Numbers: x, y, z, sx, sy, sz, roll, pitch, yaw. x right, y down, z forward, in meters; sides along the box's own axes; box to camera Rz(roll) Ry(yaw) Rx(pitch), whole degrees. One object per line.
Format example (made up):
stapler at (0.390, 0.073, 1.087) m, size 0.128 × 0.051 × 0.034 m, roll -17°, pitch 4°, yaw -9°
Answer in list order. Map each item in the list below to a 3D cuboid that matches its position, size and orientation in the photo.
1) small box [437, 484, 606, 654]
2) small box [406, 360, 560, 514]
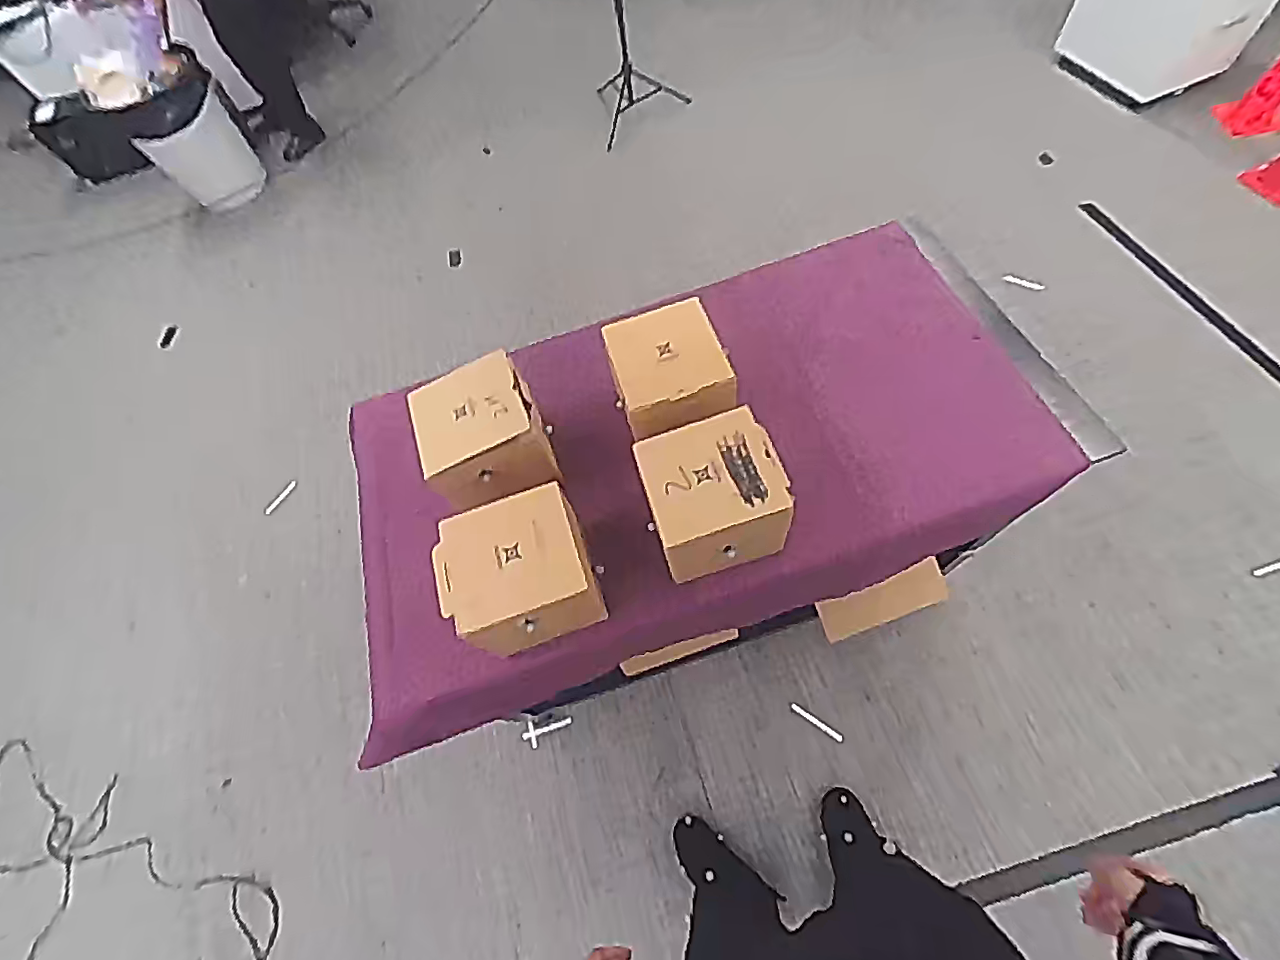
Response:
small box at (-0.164, 0.137, 0.779) m, size 0.179 × 0.176 × 0.168 m, roll -20°, pitch 63°, yaw -3°
small box at (-0.252, -0.059, 0.889) m, size 0.179 × 0.176 × 0.168 m, roll -21°, pitch 63°, yaw -3°
